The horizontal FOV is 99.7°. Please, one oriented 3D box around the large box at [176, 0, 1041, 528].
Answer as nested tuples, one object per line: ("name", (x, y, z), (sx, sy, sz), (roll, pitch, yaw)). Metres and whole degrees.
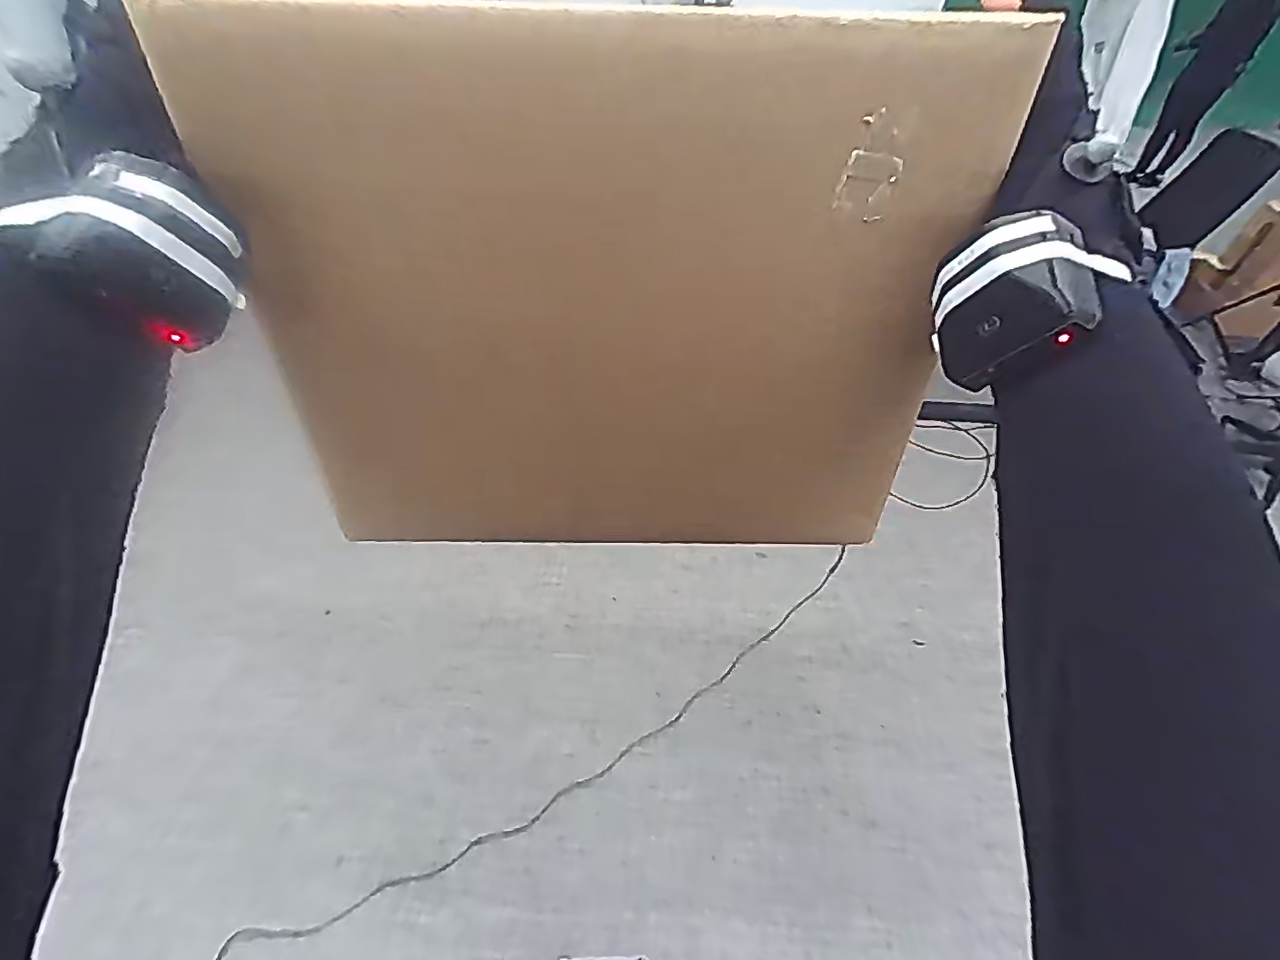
("large box", (-0.018, -0.171, 0.449), (0.408, 0.320, 0.320), (1, 36, -2))
